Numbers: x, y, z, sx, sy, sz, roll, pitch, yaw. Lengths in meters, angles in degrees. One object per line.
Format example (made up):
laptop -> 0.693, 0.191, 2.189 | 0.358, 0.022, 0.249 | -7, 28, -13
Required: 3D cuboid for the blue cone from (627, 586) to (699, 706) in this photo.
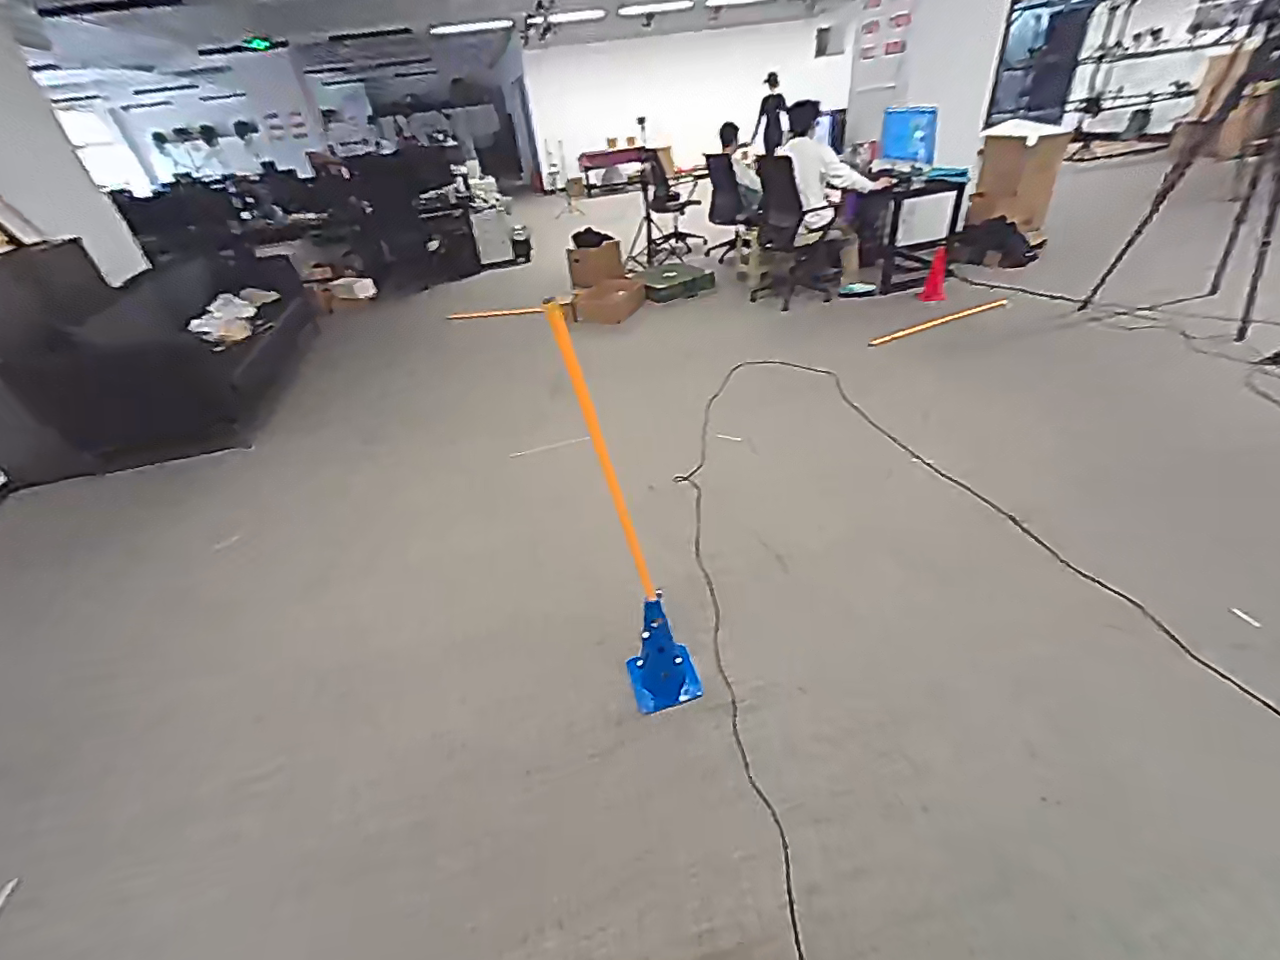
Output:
blue cone -> 0.047, 0.452, 1.545 | 0.193, 0.380, 0.192 | -17, 35, -10
